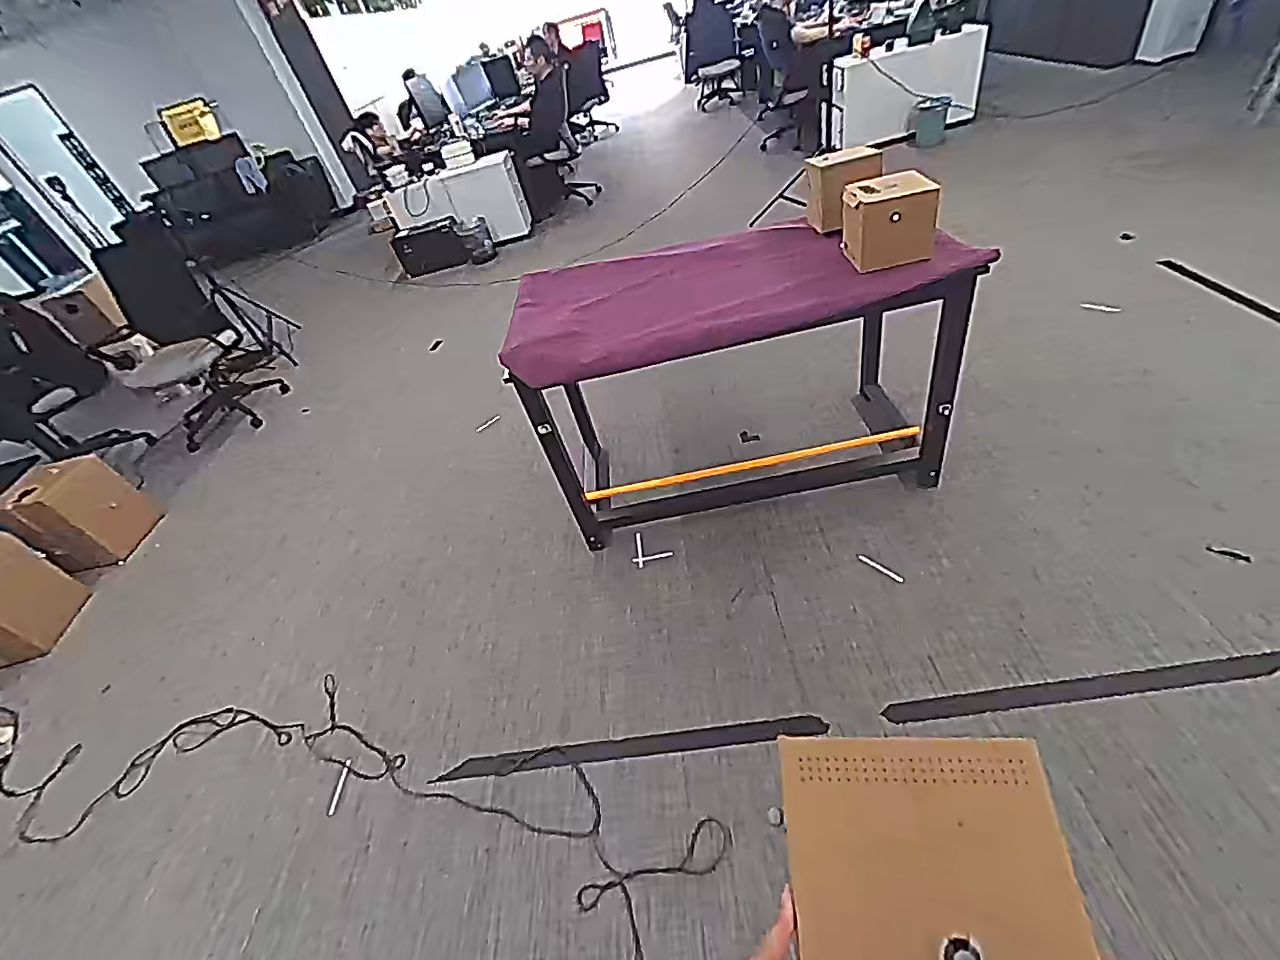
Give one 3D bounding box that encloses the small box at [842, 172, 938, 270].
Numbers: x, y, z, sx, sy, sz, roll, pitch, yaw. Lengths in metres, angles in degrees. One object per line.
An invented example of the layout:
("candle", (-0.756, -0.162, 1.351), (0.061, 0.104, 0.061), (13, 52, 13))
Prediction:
("small box", (0.622, -0.649, 1.364), (0.179, 0.176, 0.168), (-10, 41, 8))
